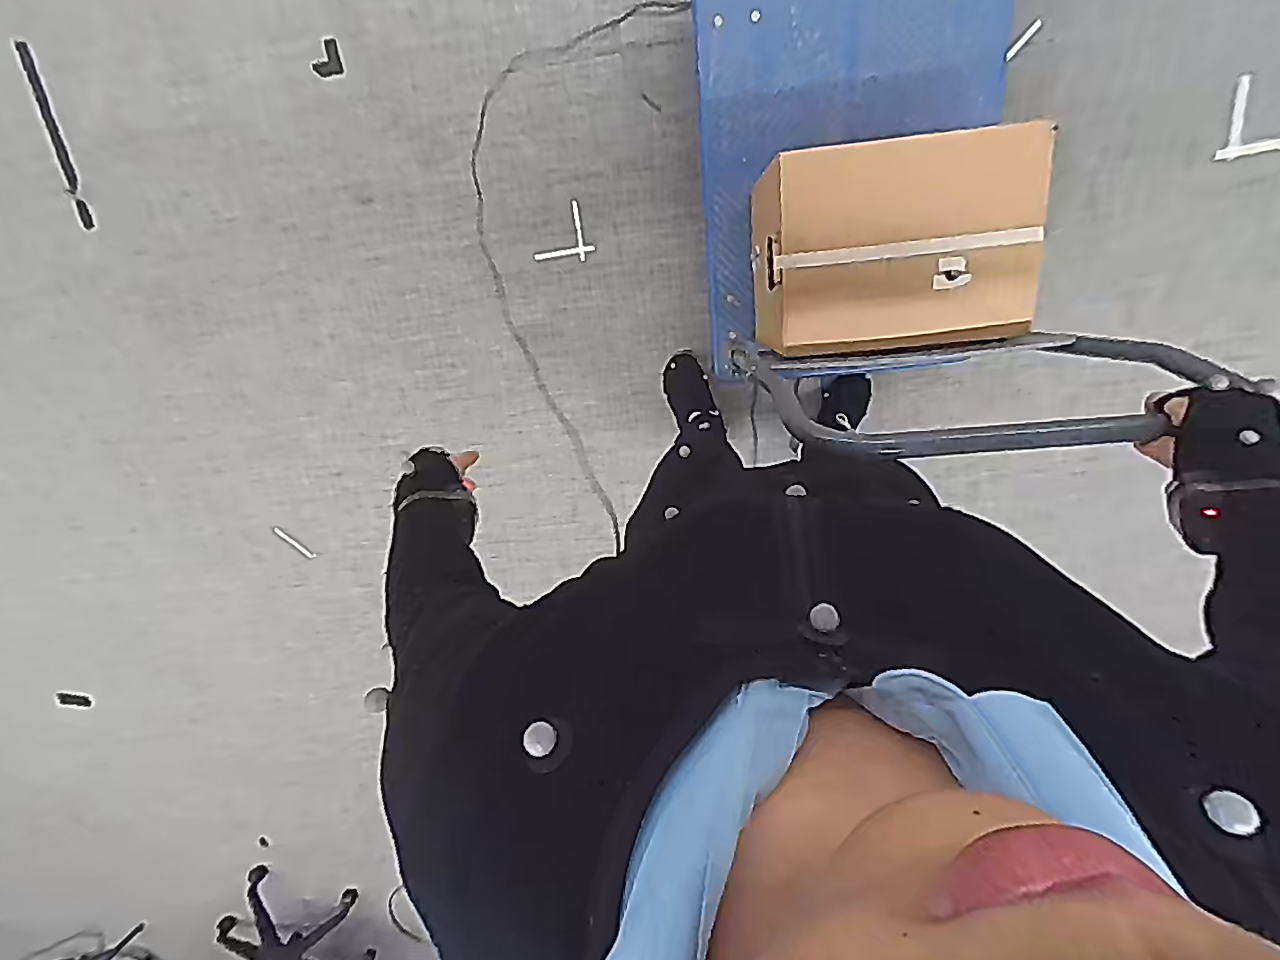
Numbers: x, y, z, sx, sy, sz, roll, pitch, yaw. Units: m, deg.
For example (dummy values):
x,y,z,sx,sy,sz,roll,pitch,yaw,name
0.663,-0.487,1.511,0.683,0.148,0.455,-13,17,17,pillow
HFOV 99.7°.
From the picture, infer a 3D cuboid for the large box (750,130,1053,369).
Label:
x,y,z,sx,sy,sz,roll,pitch,yaw,name
0.430,-0.395,0.991,0.408,0.320,0.320,-5,109,4,large box
